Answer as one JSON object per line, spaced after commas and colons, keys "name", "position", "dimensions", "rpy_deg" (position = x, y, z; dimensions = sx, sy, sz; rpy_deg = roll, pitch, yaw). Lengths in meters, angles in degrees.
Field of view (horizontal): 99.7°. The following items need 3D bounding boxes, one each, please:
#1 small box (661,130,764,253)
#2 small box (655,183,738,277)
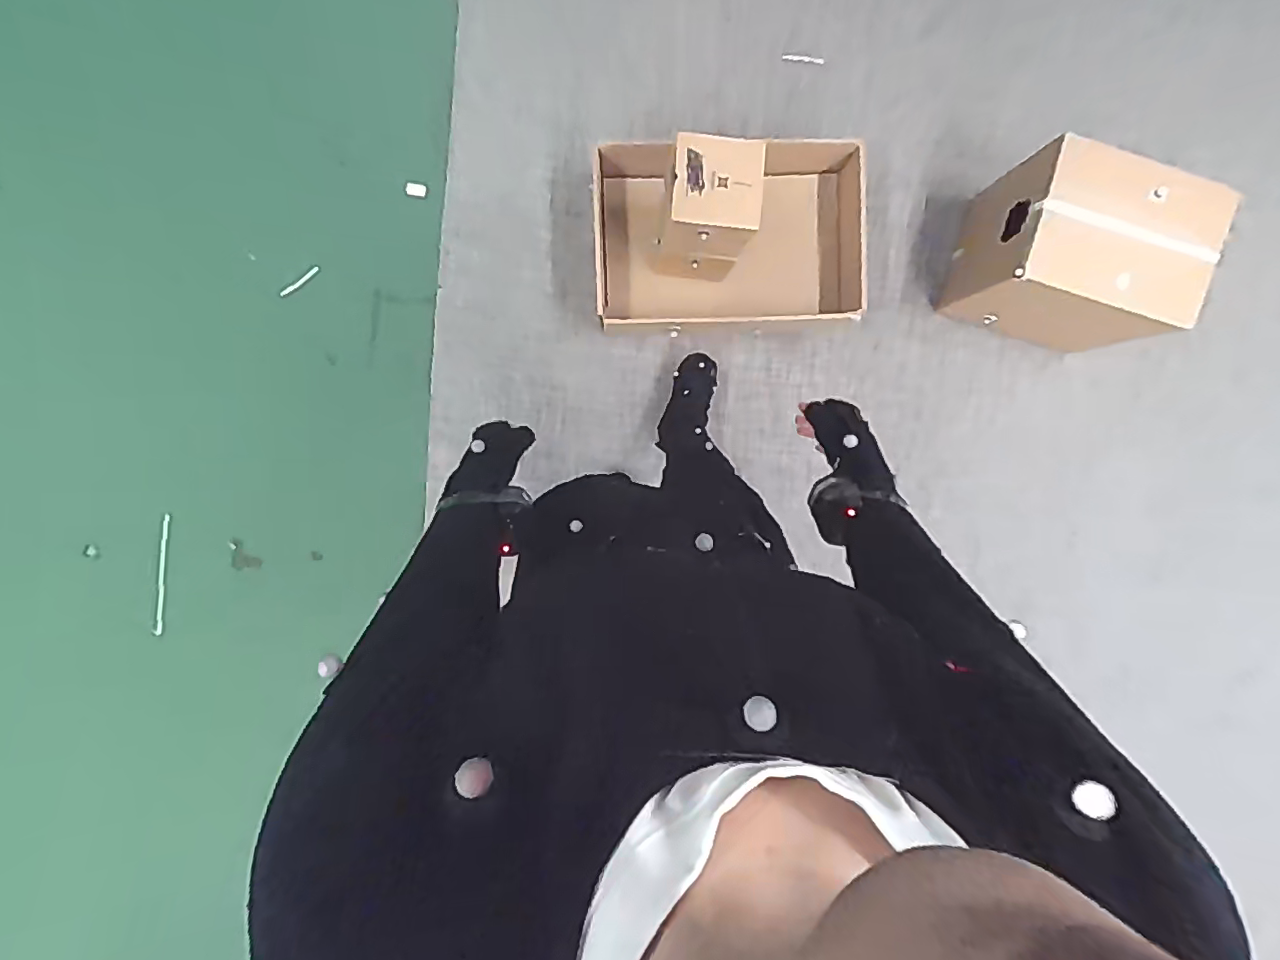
{"name": "small box", "position": [0.141, -0.584, 1.116], "dimensions": [0.179, 0.176, 0.168], "rpy_deg": [4, 94, -5]}
{"name": "small box", "position": [0.133, -0.594, 1.280], "dimensions": [0.179, 0.176, 0.168], "rpy_deg": [5, 94, -6]}
